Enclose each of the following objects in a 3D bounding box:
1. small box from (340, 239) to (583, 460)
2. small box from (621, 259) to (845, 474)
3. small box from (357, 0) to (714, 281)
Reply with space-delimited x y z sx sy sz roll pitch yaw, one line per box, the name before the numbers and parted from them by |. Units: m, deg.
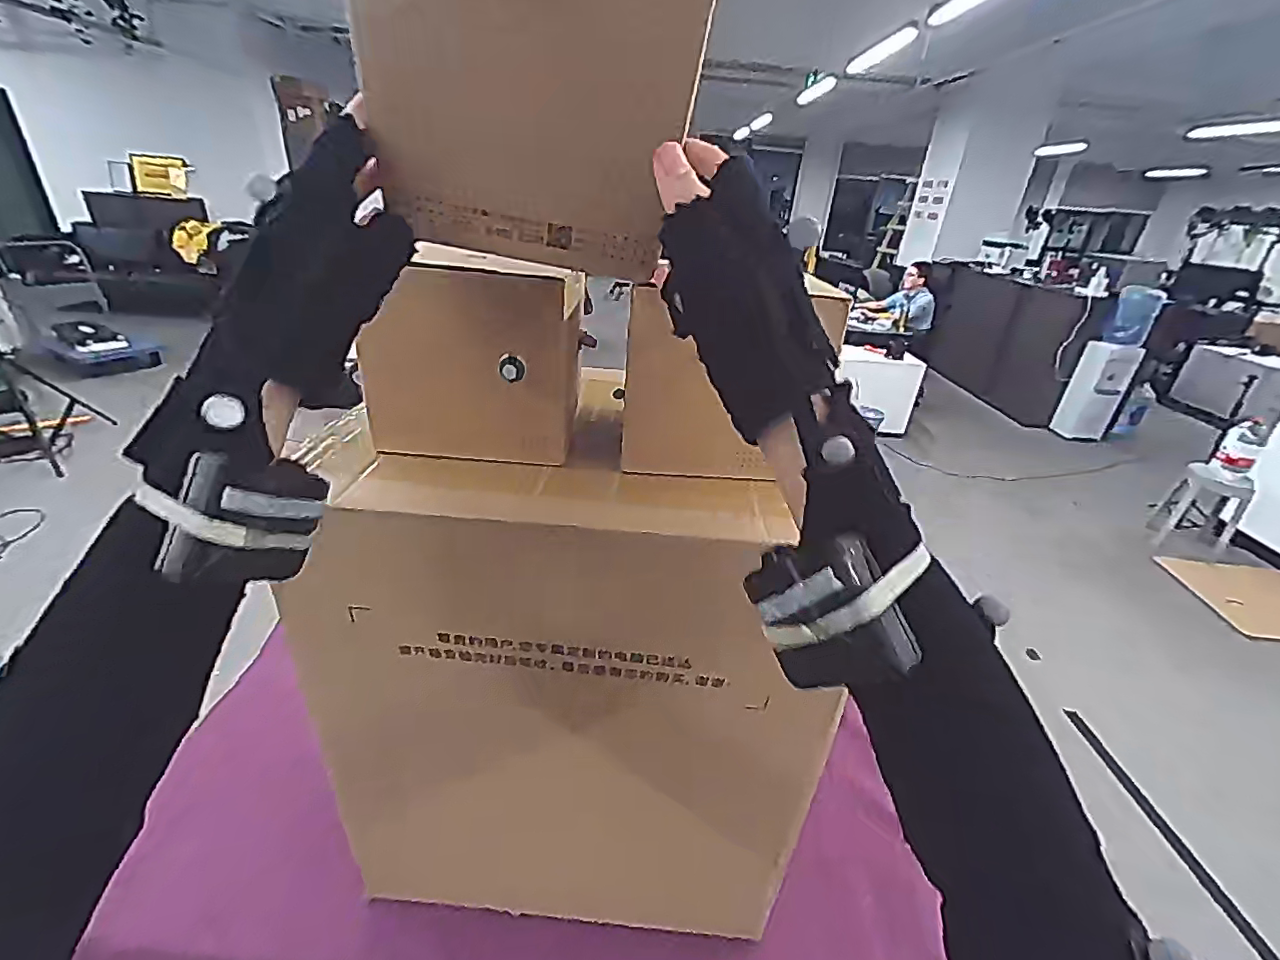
small box | -0.151 -0.129 0.525 0.179 0.176 0.168 4 27 -2
small box | 0.072 -0.116 0.529 0.179 0.176 0.168 3 28 -2
small box | -0.056 -0.251 0.324 0.168 0.176 0.179 8 50 -7
